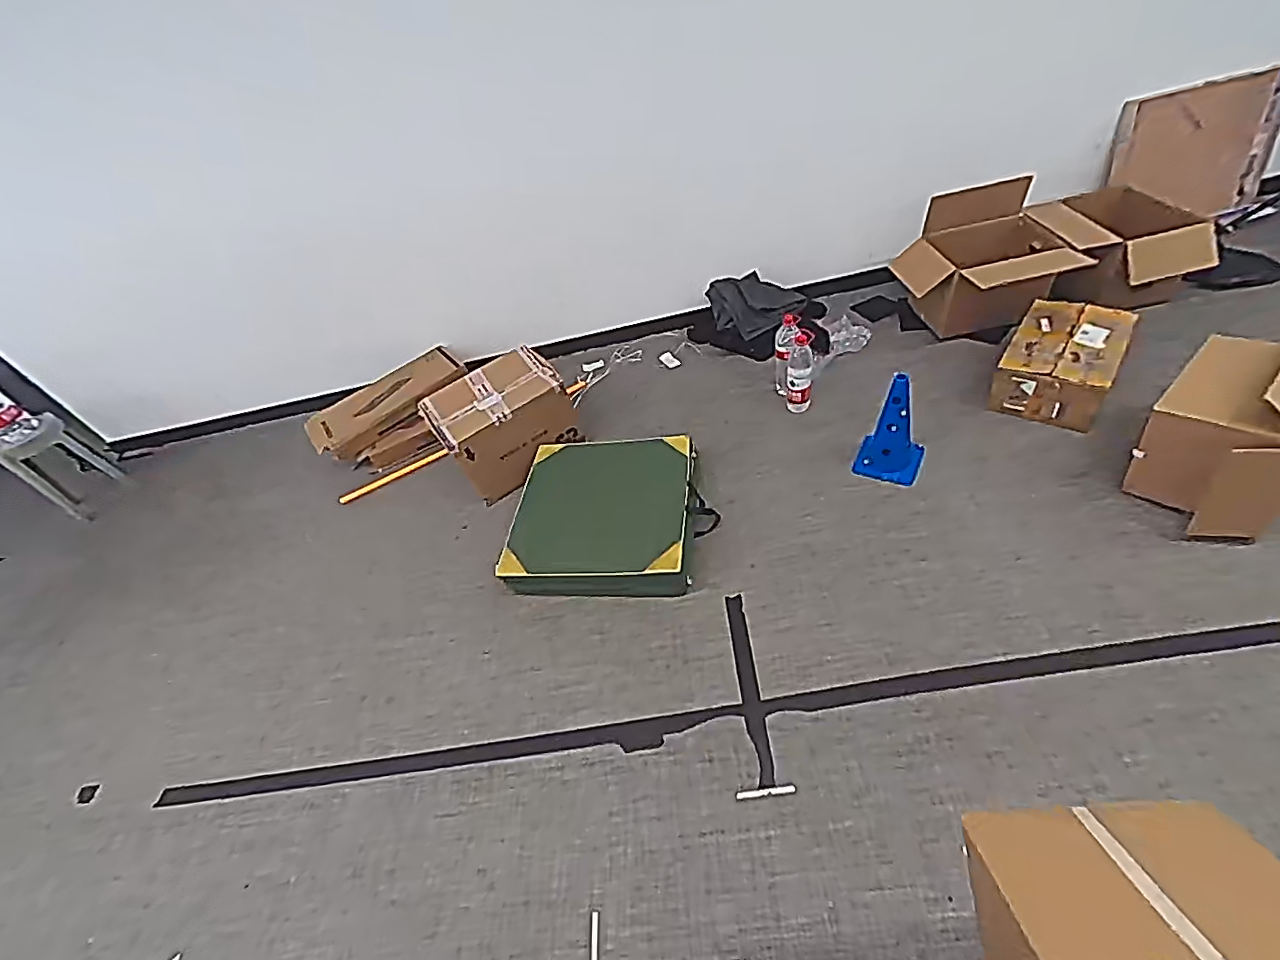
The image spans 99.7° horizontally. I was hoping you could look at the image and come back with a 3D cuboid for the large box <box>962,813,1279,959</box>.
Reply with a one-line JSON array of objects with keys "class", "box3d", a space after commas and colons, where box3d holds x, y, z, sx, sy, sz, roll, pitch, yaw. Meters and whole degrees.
[{"class": "large box", "box3d": [0.608, 0.641, 0.577, 0.320, 0.320, 0.408, -11, 3, 11]}]
